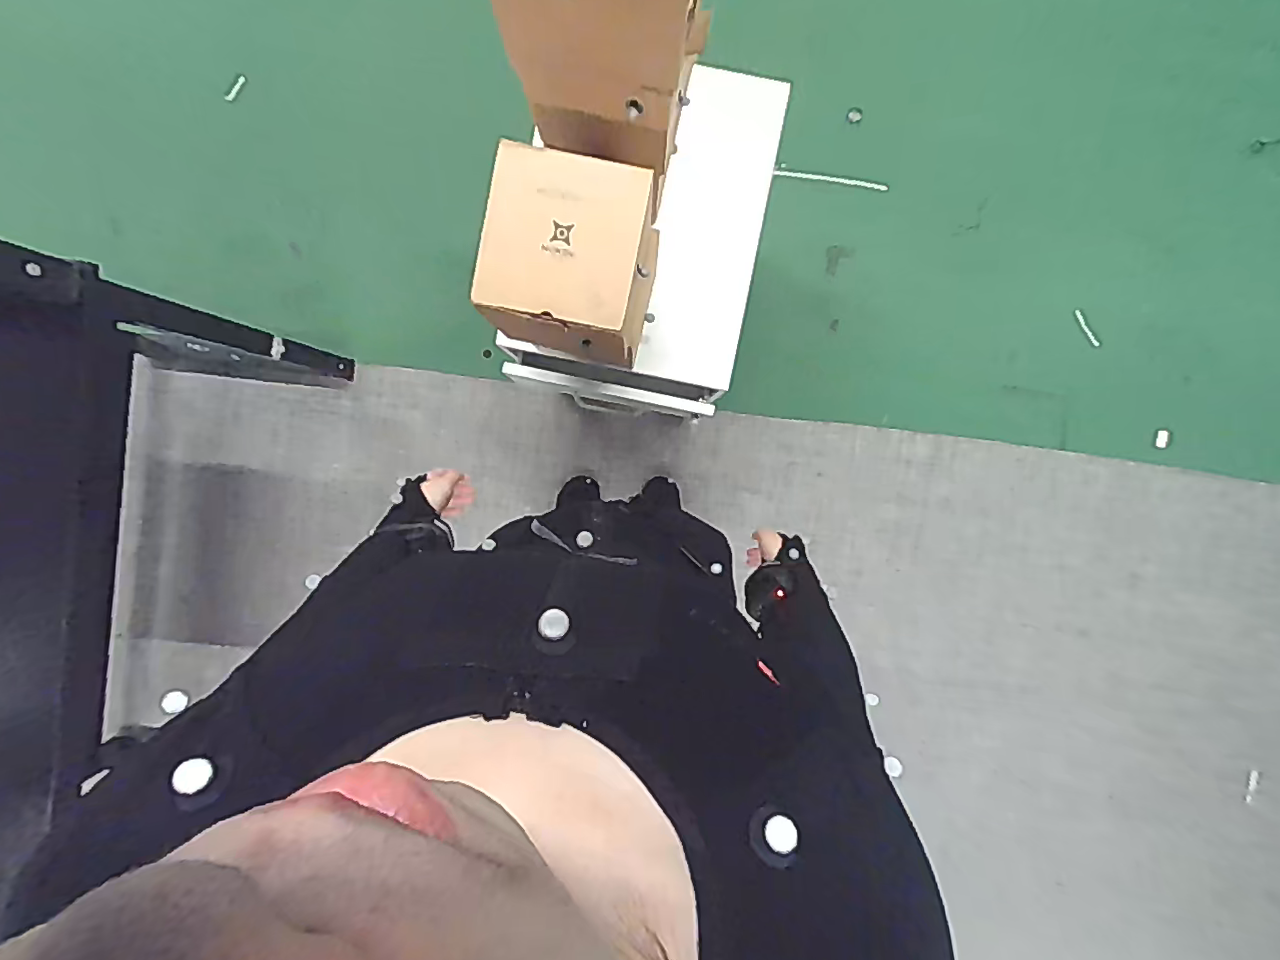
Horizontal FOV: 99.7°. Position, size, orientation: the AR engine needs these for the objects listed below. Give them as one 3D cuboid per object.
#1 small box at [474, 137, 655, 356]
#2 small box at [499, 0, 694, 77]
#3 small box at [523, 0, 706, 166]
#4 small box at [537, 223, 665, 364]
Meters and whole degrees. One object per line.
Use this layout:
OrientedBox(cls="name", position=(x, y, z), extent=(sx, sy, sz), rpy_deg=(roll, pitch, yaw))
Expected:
OrientedBox(cls="small box", position=(-0.079, -0.255, 0.636), extent=(0.168, 0.176, 0.179), rpy_deg=(10, 92, -2))
OrientedBox(cls="small box", position=(-0.033, -0.487, 0.461), extent=(0.179, 0.176, 0.168), rpy_deg=(7, 94, -1))
OrientedBox(cls="small box", position=(-0.028, -0.501, 0.625), extent=(0.179, 0.176, 0.168), rpy_deg=(14, 93, -2))
OrientedBox(cls="small box", position=(-0.070, -0.279, 0.796), extent=(0.179, 0.176, 0.168), rpy_deg=(14, 91, -2))
